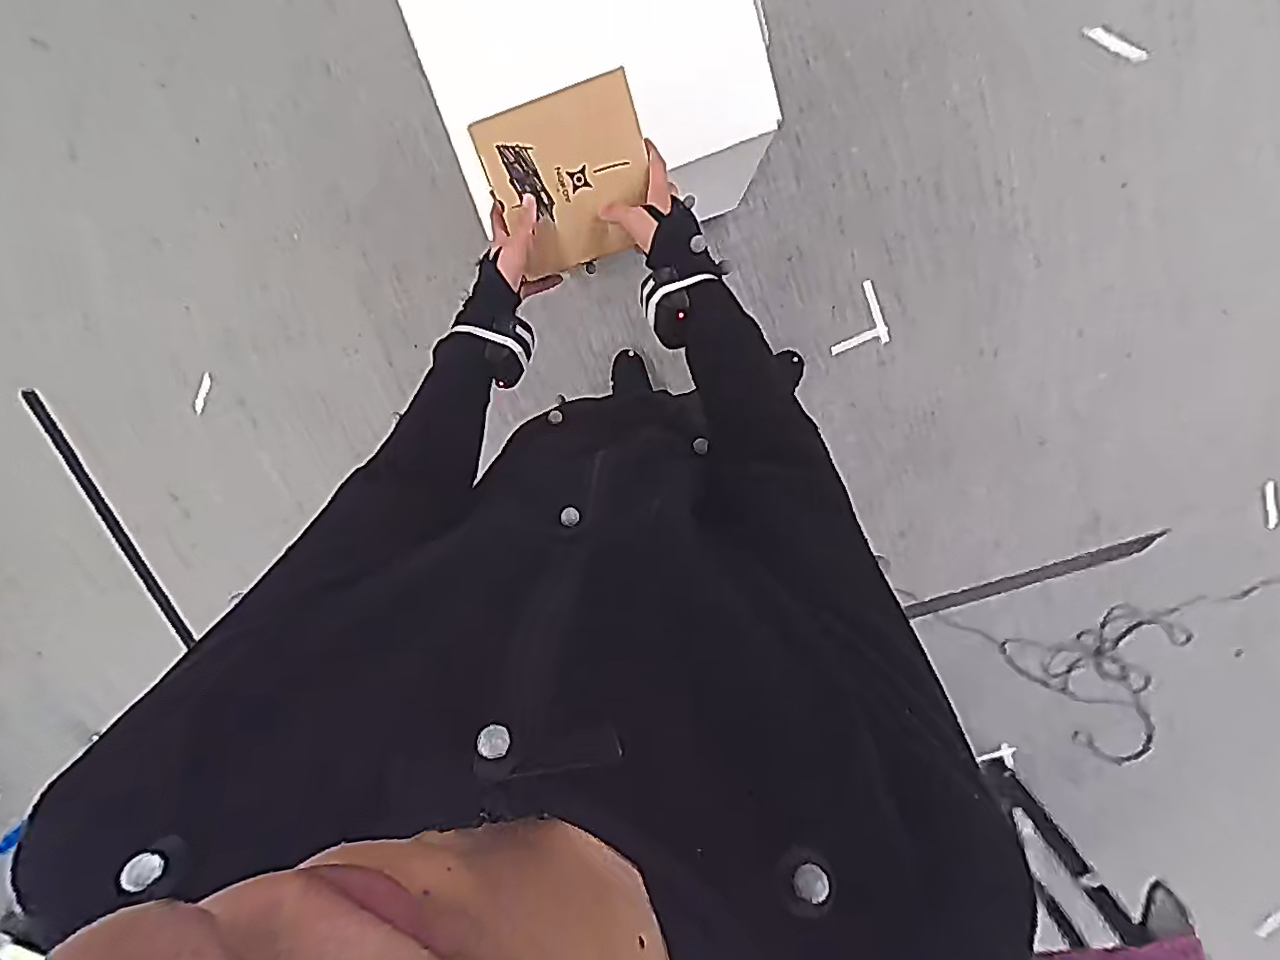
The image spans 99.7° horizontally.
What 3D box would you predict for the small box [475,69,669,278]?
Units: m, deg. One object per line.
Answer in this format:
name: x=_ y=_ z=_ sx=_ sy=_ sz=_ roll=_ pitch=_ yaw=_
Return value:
small box: x=-0.073 y=-0.356 z=0.663 sx=0.179 sy=0.176 sz=0.168 roll=-17 pitch=112 yaw=4
